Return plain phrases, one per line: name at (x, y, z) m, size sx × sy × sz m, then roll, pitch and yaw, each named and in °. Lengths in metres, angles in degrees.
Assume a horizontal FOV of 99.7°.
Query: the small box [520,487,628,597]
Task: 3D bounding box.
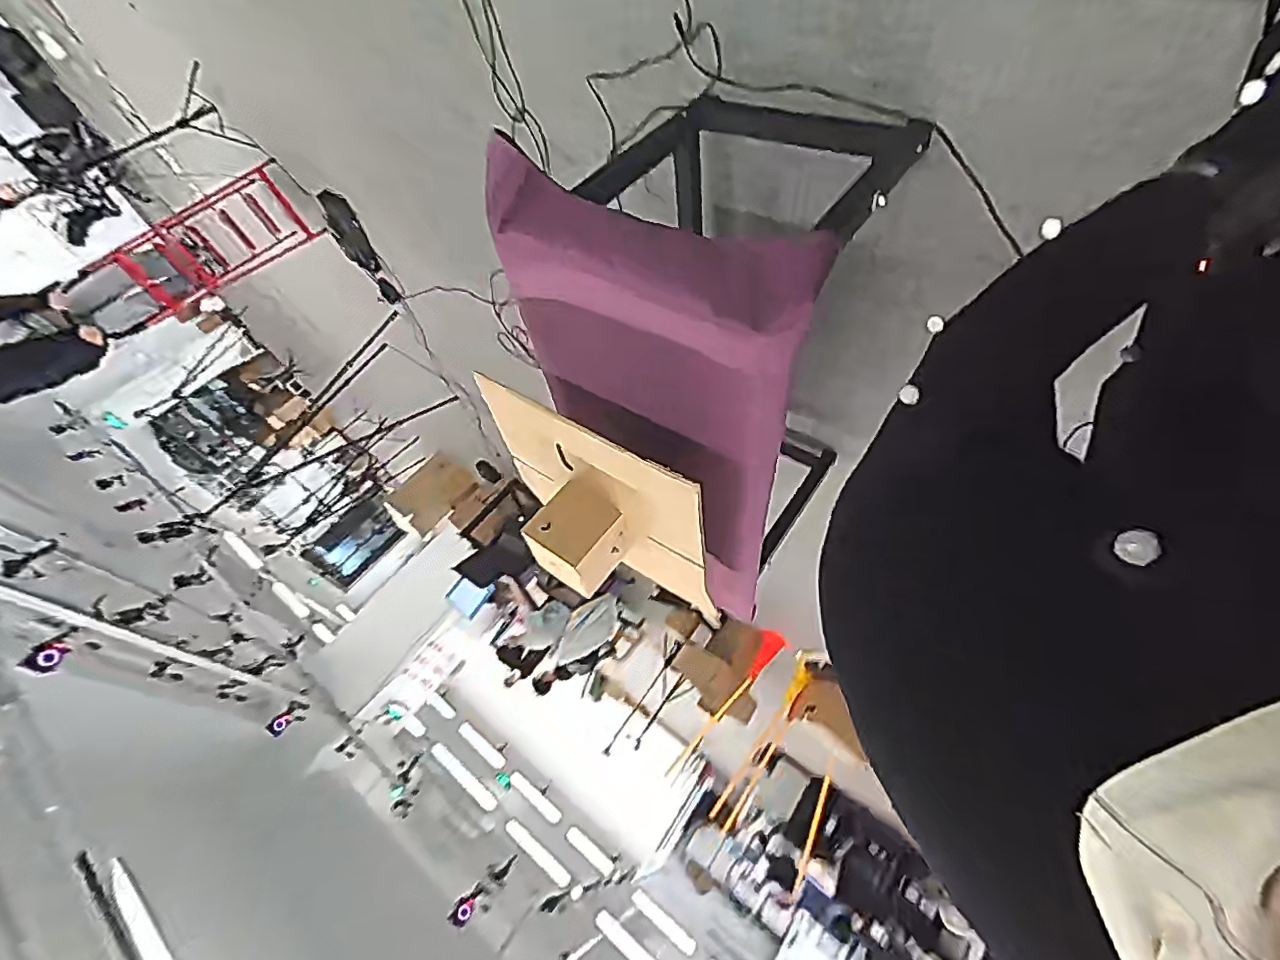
small box at (-0.151, 0.141, 1.294) m, size 0.179 × 0.176 × 0.168 m, roll 29°, pitch 152°, yaw 25°
